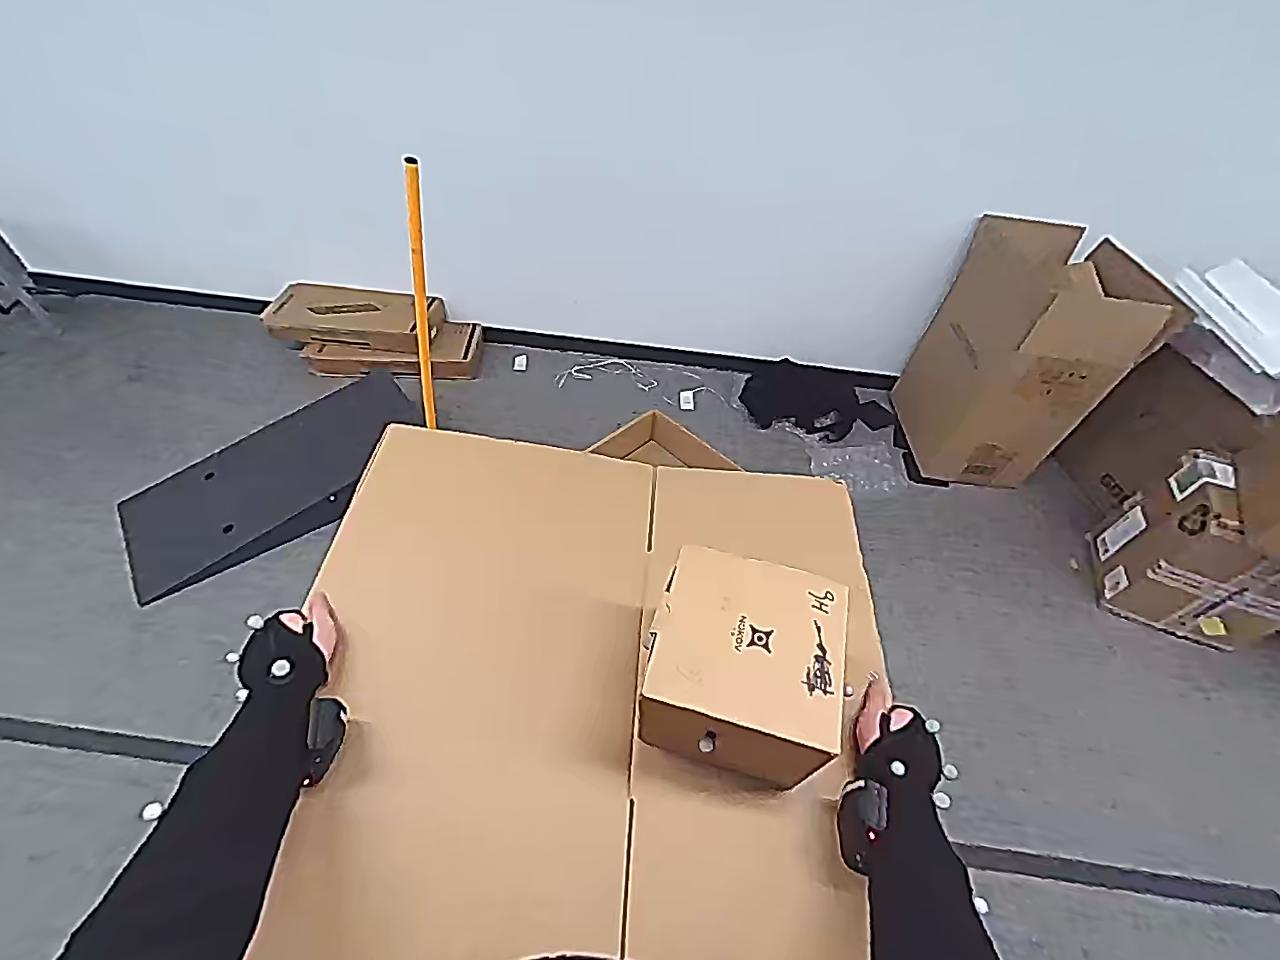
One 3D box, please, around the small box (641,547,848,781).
[{"bbox_3d":[0.107,0.200,0.579,0.179,0.176,0.168,12,53,11],"label":"small box"}]
